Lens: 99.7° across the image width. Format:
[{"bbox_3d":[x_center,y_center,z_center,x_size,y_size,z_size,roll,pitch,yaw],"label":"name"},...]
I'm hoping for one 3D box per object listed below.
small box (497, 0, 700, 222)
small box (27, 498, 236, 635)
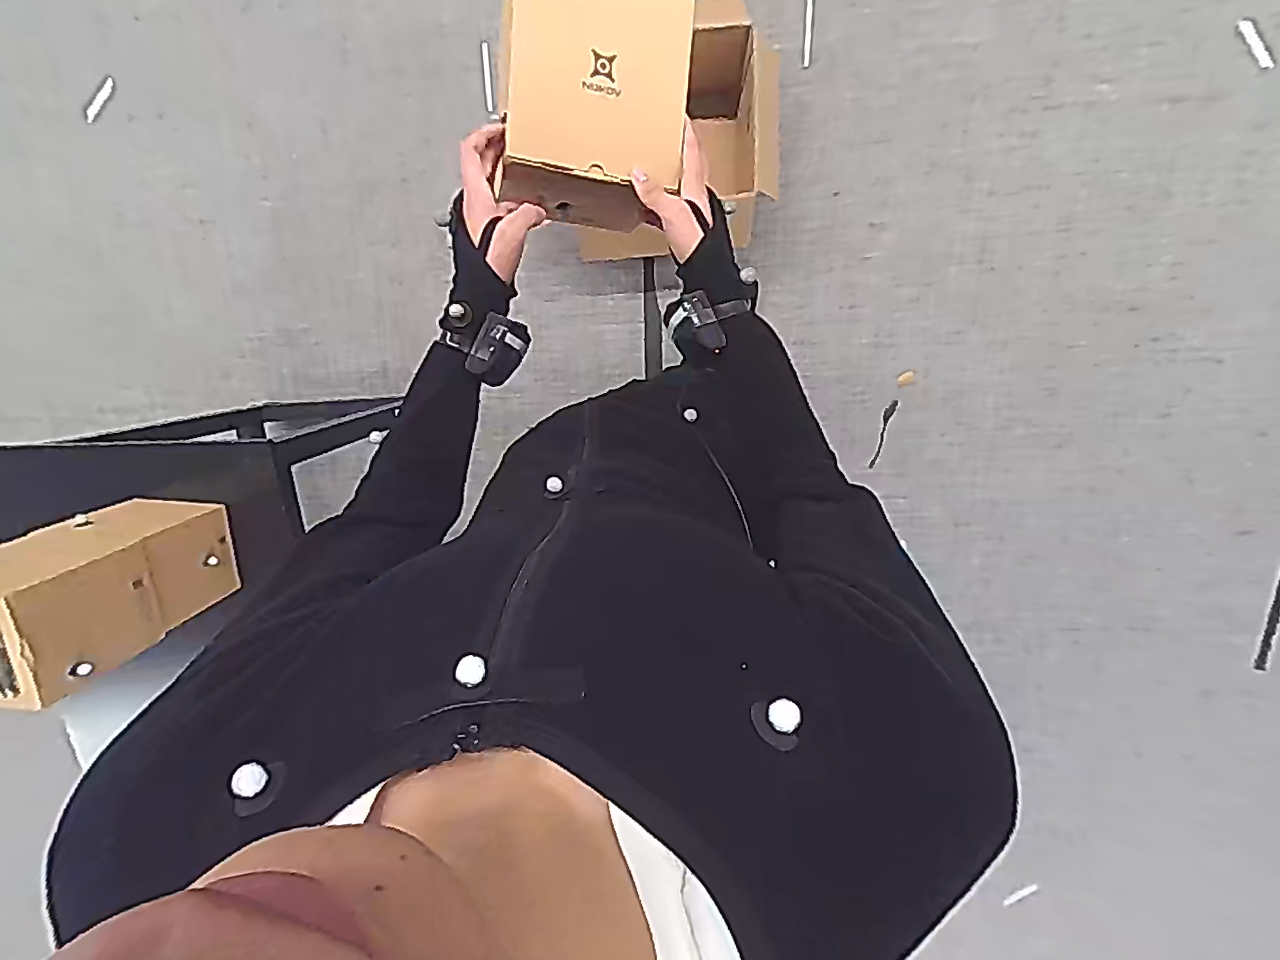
[{"bbox_3d":[-0.054,-0.384,0.546,0.168,0.176,0.179,1,102,-18],"label":"small box"},{"bbox_3d":[-0.829,0.134,0.900,0.179,0.176,0.168,4,108,4],"label":"small box"}]
